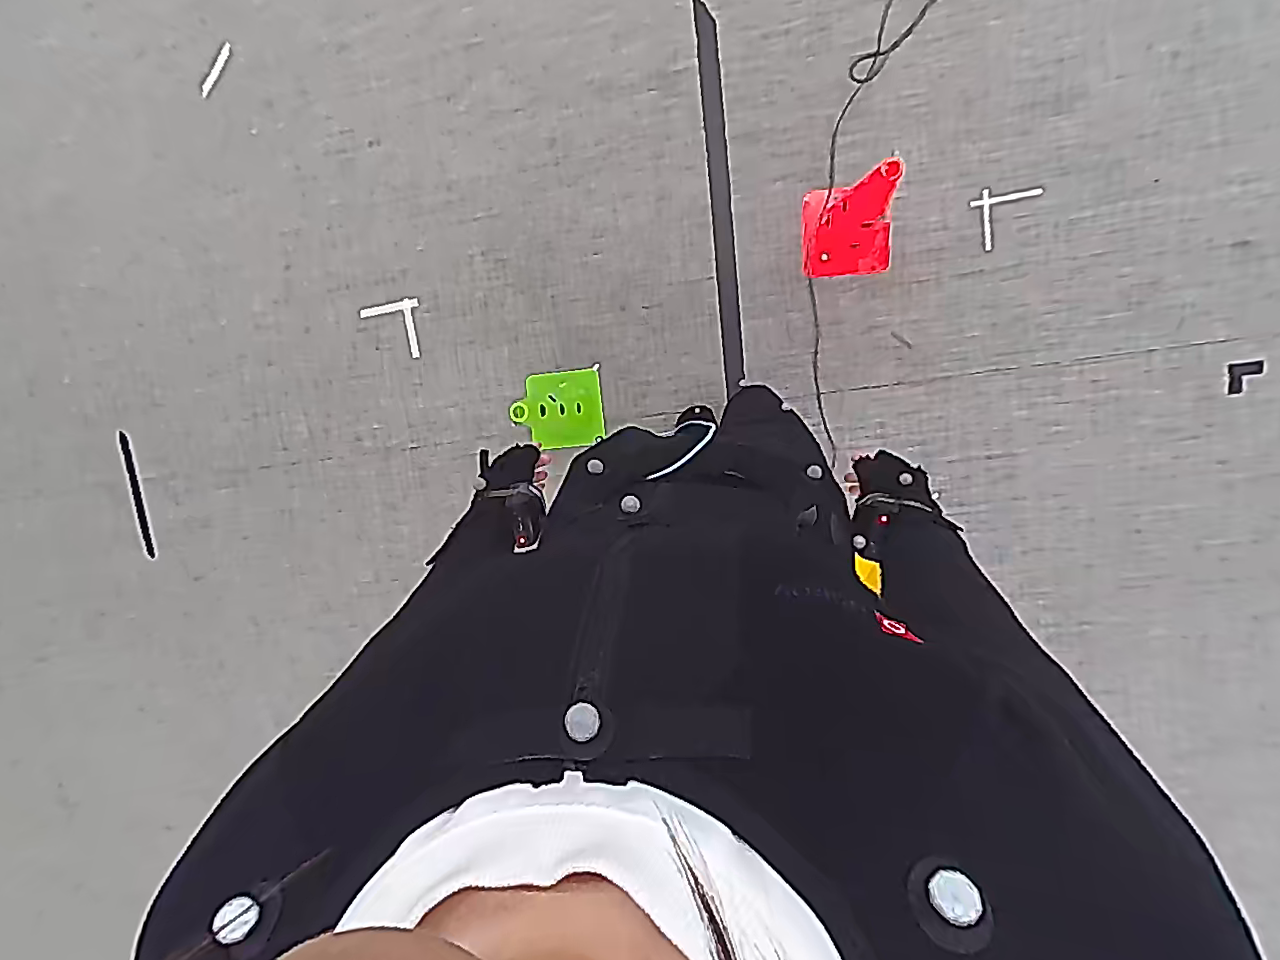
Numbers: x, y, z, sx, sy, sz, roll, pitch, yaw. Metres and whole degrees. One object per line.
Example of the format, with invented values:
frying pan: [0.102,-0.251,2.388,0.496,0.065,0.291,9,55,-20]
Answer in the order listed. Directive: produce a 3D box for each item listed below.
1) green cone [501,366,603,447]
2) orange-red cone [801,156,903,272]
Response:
green cone: [-0.228,-0.172,1.259,0.202,0.368,0.200,-5,96,10]
orange-red cone: [0.465,-0.573,1.114,0.199,0.360,0.198,-1,99,7]
